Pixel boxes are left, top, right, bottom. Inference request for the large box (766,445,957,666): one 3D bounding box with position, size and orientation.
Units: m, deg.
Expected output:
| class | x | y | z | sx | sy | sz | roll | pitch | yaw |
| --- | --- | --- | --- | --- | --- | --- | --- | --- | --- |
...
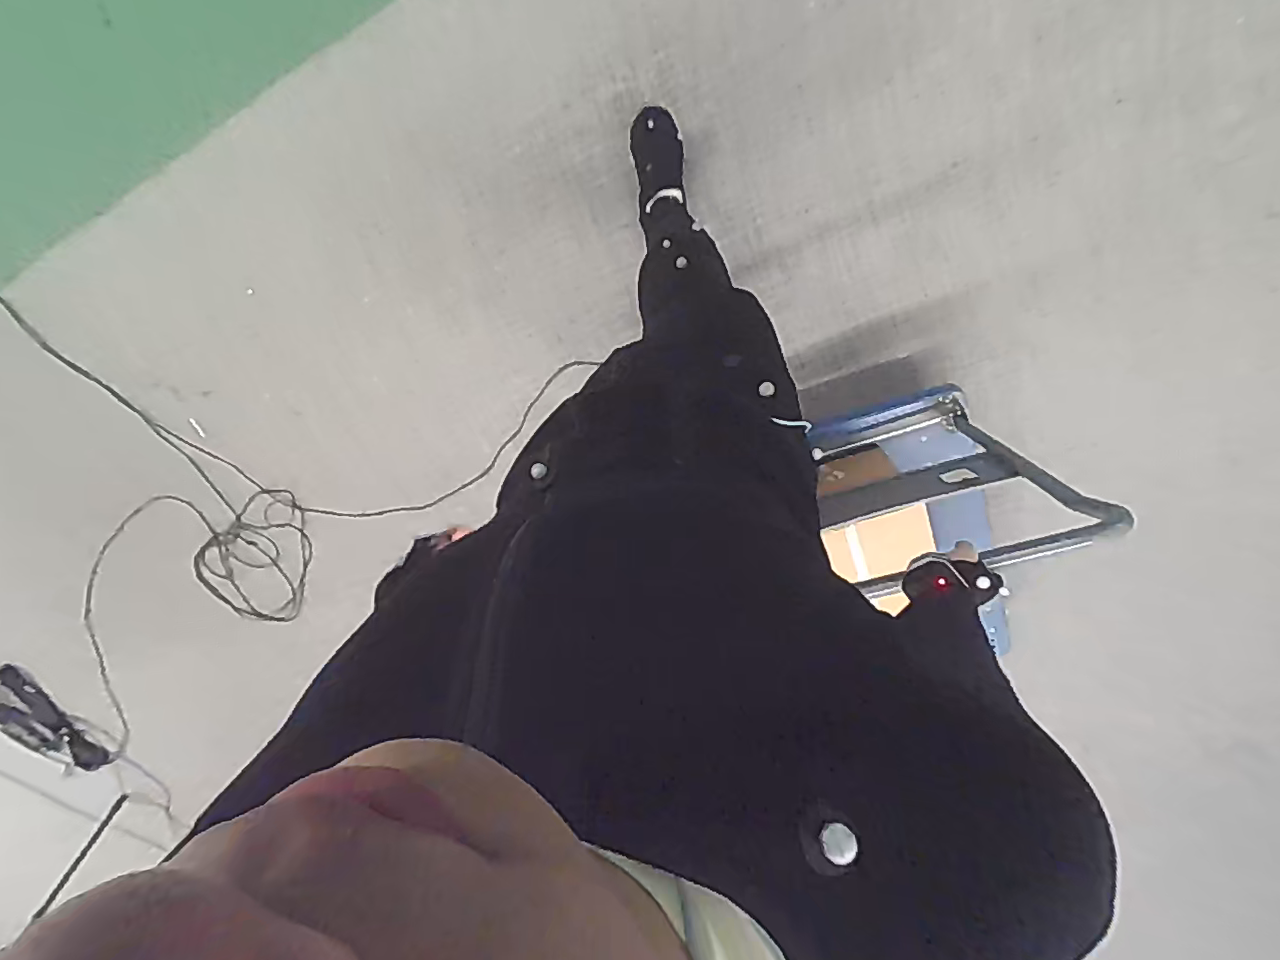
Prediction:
| class | x | y | z | sx | sy | sz | roll | pitch | yaw |
| --- | --- | --- | --- | --- | --- | --- | --- | --- | --- |
| large box | 0.540 | 0.182 | 1.364 | 0.320 | 0.320 | 0.408 | -18 | 112 | 15 |
